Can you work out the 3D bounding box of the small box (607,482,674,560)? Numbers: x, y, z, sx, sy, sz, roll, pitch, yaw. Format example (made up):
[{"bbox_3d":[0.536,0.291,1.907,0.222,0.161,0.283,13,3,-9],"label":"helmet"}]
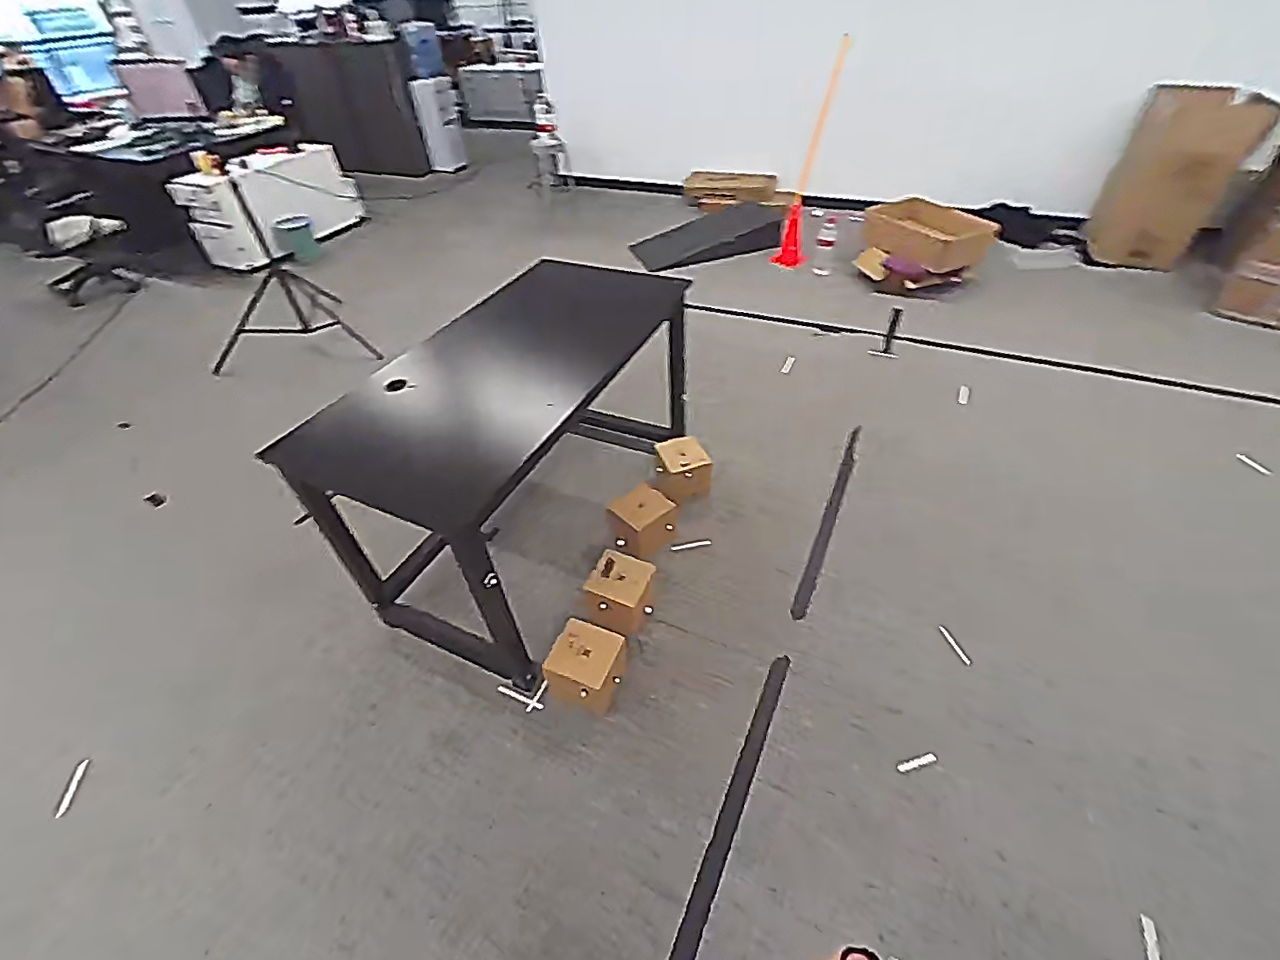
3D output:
[{"bbox_3d":[0.003,0.146,1.917,0.179,0.176,0.168,-36,51,-27],"label":"small box"}]

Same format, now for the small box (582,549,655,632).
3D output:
[{"bbox_3d":[-0.063,0.353,1.707,0.179,0.176,0.168,16,48,19],"label":"small box"}]

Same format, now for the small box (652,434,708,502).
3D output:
[{"bbox_3d":[0.153,-0.045,2.098,0.168,0.176,0.179,-17,45,-13],"label":"small box"}]
